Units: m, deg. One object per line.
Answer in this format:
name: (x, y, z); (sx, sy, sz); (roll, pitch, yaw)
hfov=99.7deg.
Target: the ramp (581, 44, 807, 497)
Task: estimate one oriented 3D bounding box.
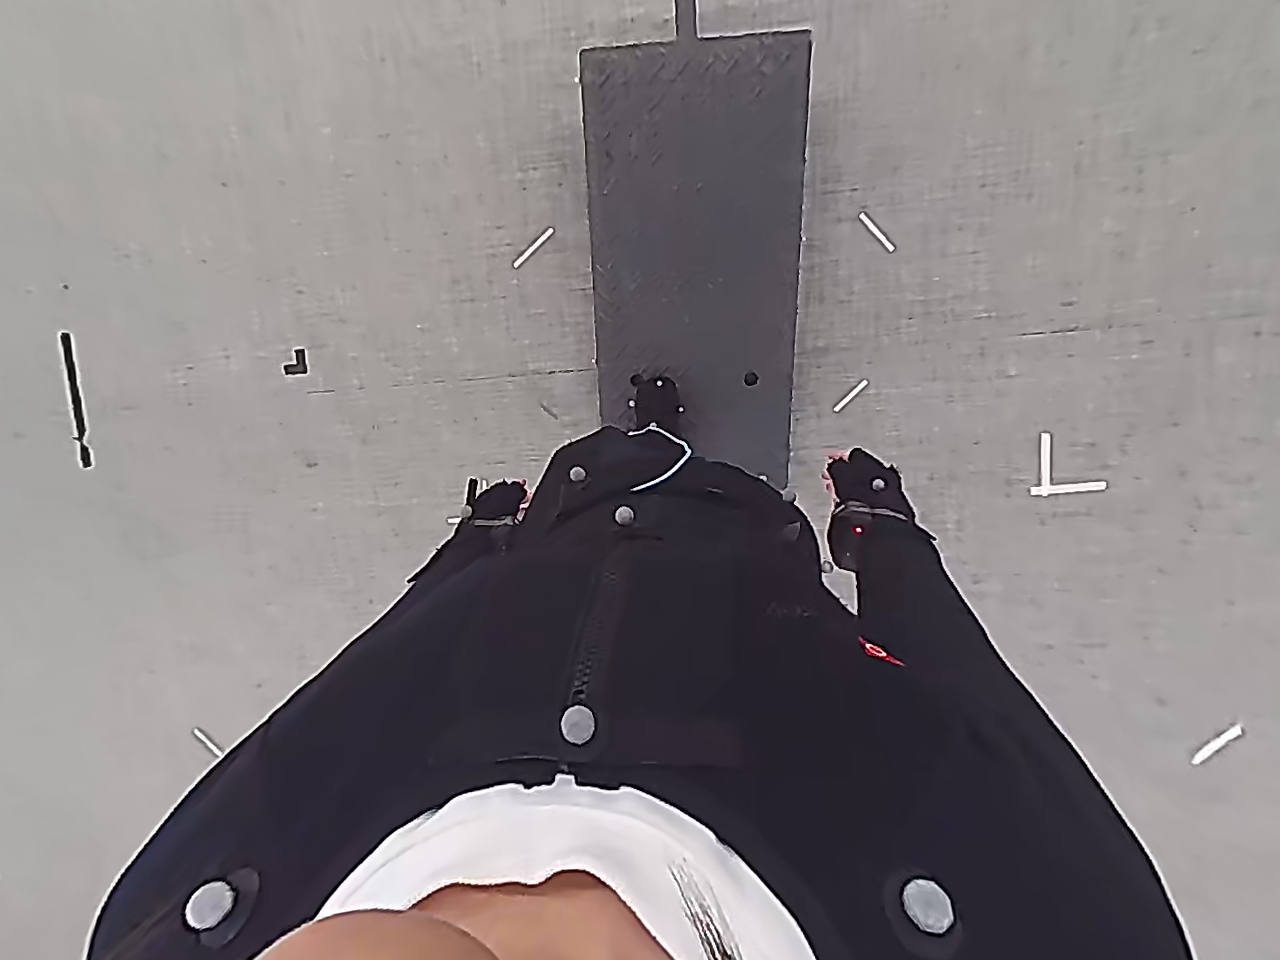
ramp: (0.144, -0.436, 1.314); (0.509, 0.206, 0.991); (-3, 97, 6)
